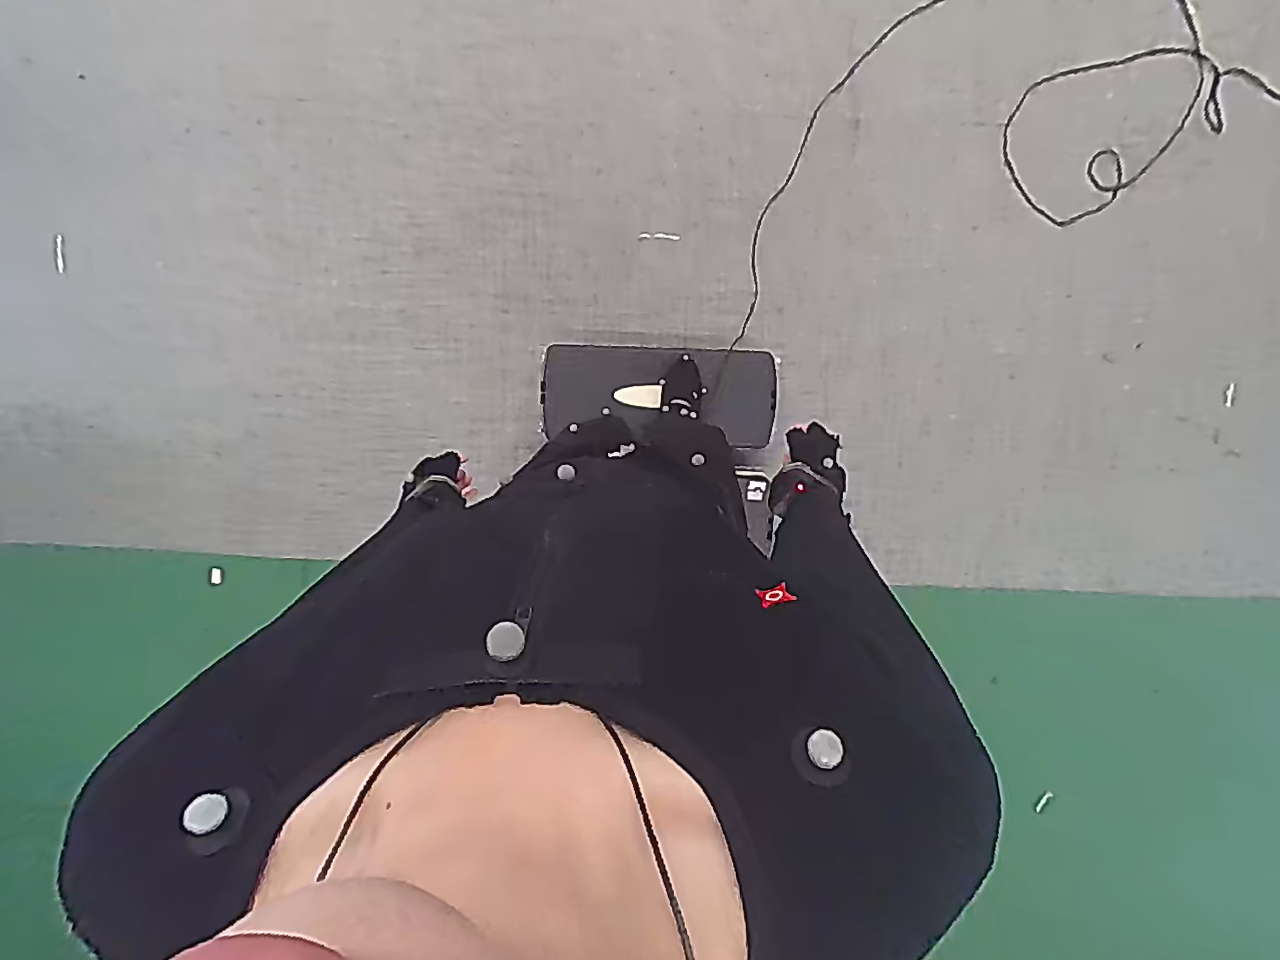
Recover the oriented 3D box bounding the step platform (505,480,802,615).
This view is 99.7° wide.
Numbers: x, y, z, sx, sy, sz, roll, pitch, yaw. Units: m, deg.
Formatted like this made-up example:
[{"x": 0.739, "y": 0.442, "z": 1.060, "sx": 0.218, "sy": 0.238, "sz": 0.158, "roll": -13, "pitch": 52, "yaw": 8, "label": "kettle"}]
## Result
[{"x": 0.032, "y": 0.153, "z": 1.330, "sx": 0.684, "sy": 0.204, "sz": 0.286, "roll": 2, "pitch": 95, "yaw": -1, "label": "step platform"}]
